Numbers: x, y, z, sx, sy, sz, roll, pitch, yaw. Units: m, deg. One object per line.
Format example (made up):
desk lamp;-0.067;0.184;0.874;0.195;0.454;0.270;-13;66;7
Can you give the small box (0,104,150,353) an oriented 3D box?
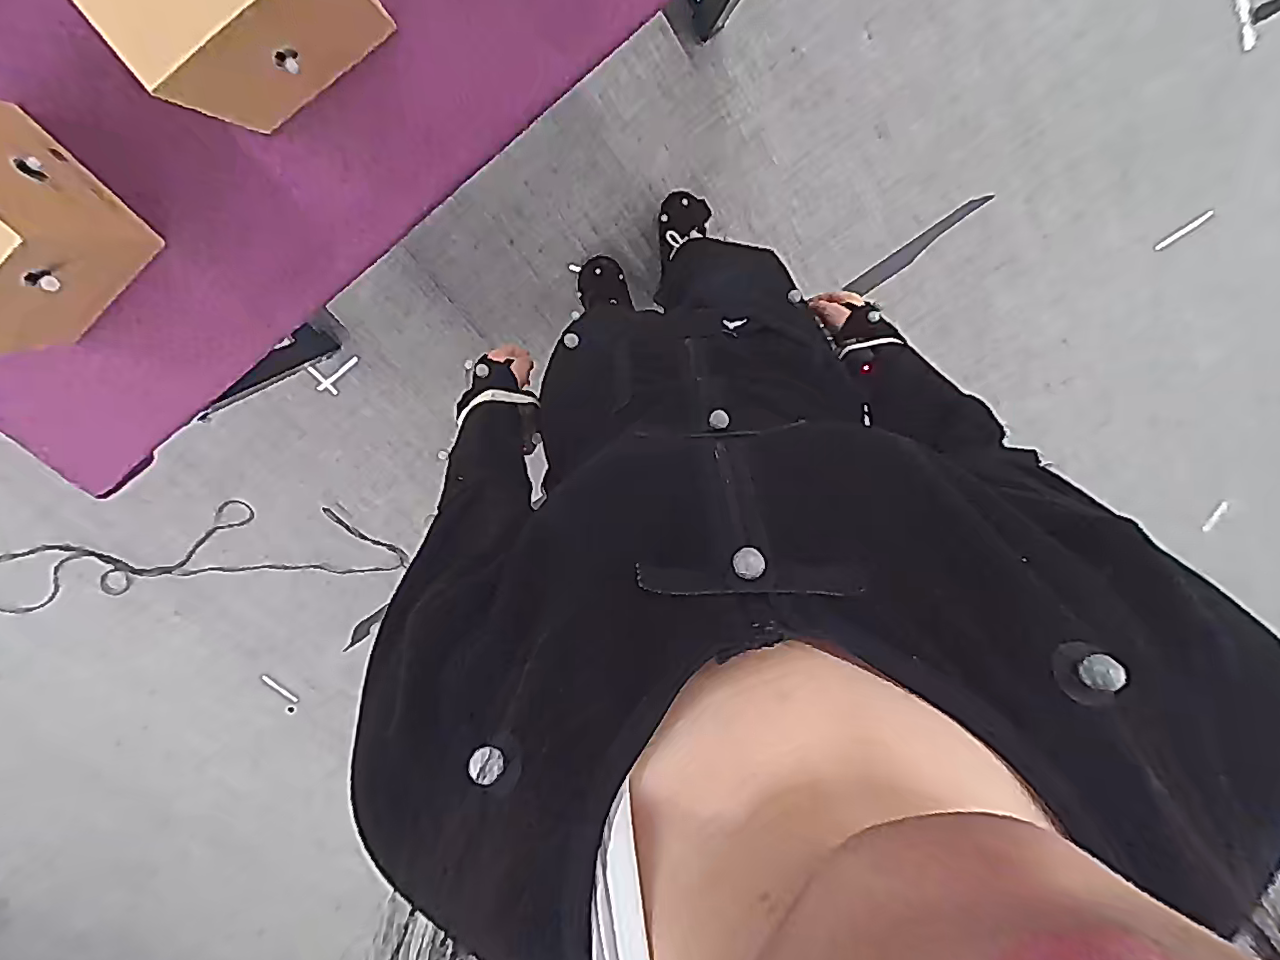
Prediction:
small box;-0.623;-0.235;0.502;0.179;0.176;0.168;-37;110;11
